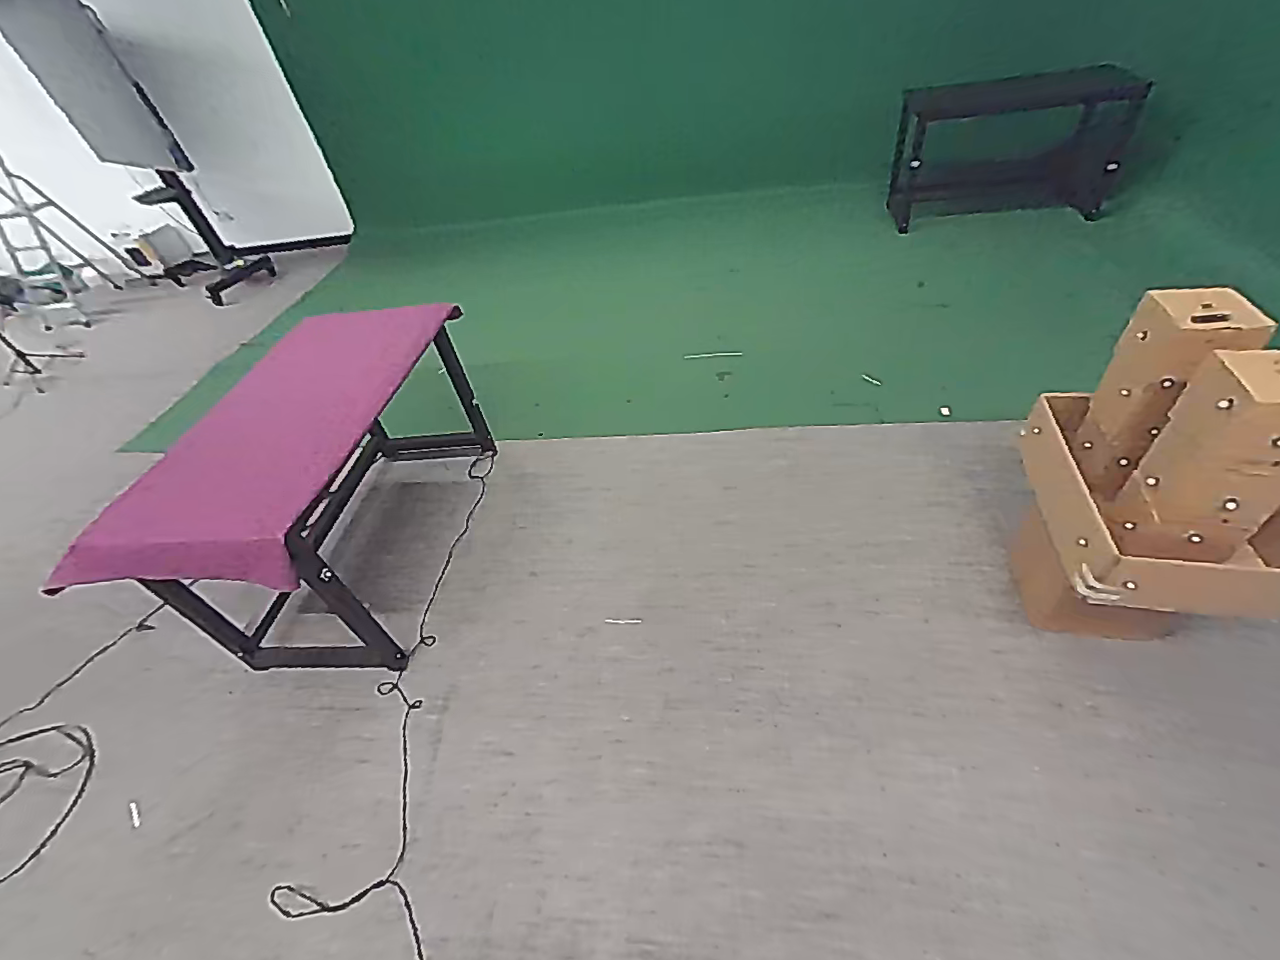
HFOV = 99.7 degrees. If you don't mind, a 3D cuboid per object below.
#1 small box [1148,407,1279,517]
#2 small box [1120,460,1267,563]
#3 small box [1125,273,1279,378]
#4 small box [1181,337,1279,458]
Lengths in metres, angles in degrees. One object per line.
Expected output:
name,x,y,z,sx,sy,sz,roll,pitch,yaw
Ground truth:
small box,1.240,-0.040,1.148,0.168,0.176,0.179,5,48,18
small box,1.267,0.075,1.261,0.179,0.176,0.168,6,48,19
small box,1.249,-0.341,1.213,0.168,0.176,0.179,3,46,15
small box,1.207,-0.155,1.034,0.168,0.176,0.179,3,47,17
